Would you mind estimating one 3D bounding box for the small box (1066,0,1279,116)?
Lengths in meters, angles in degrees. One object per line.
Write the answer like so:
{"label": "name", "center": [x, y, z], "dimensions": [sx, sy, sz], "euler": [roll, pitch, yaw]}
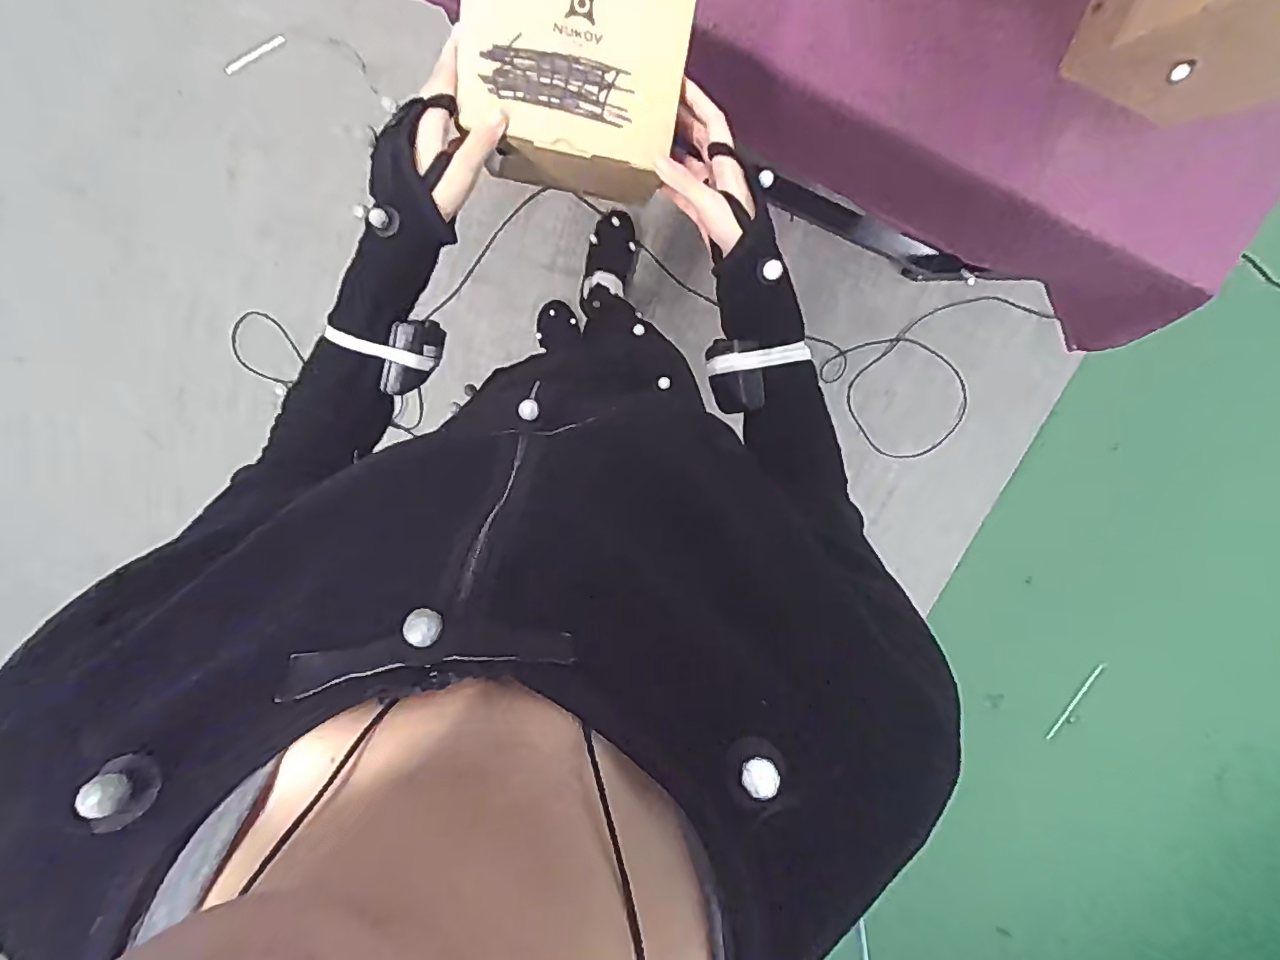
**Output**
{"label": "small box", "center": [0.616, -0.521, 0.570], "dimensions": [0.179, 0.176, 0.168], "euler": [15, 107, -10]}
